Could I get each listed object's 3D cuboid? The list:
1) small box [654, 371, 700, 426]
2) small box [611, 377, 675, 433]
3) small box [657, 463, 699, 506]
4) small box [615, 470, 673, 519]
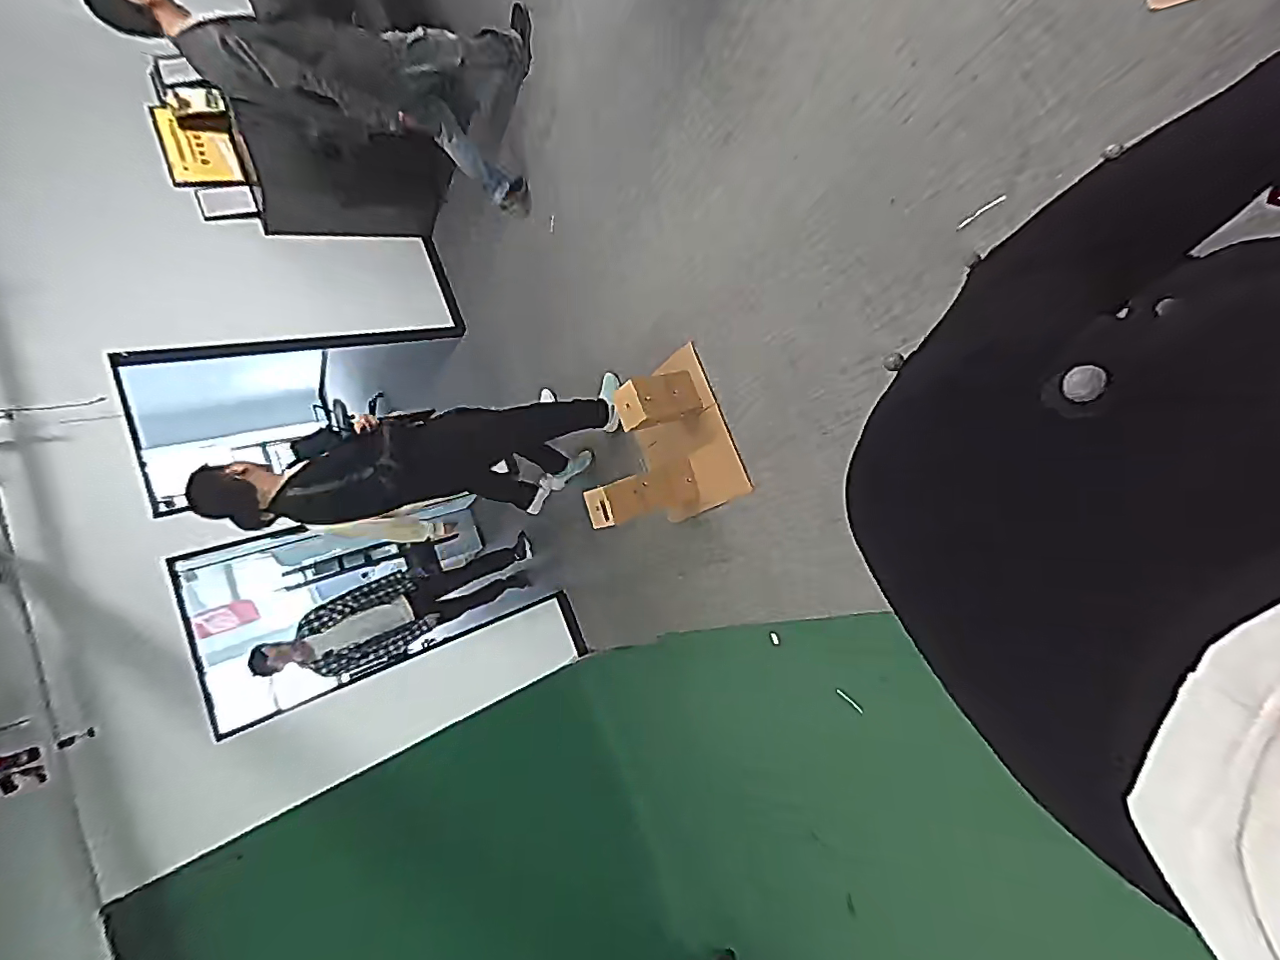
[{"bbox_3d":[0.135,-0.356,2.352,0.168,0.176,0.179,-28,82,53],"label":"small box"},{"bbox_3d":[0.015,-0.318,2.251,0.168,0.176,0.179,-30,81,52],"label":"small box"},{"bbox_3d":[0.144,0.024,2.492,0.168,0.176,0.179,-16,91,54],"label":"small box"},{"bbox_3d":[0.019,0.060,2.389,0.168,0.176,0.179,-17,90,54],"label":"small box"}]
